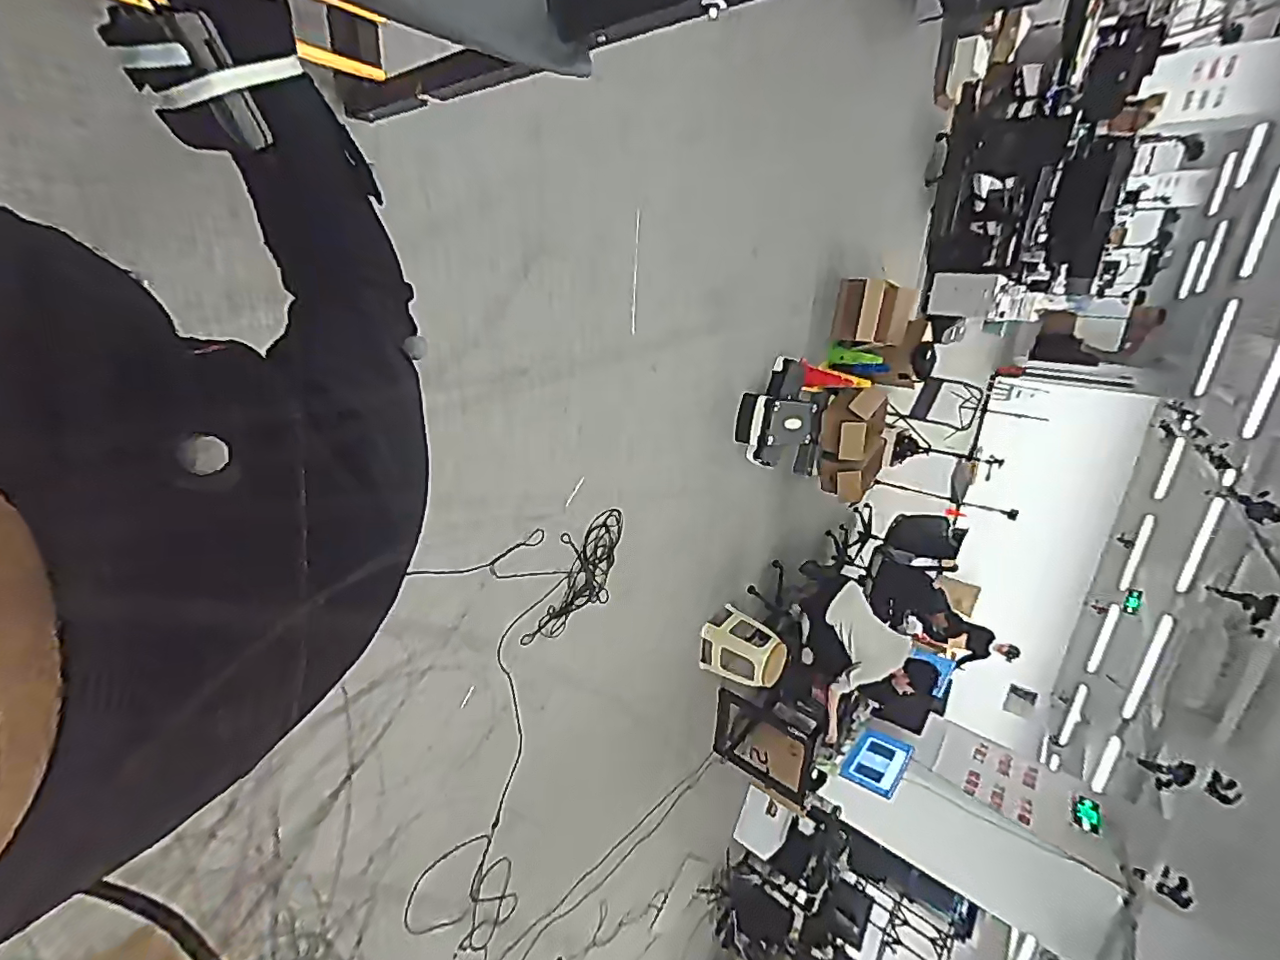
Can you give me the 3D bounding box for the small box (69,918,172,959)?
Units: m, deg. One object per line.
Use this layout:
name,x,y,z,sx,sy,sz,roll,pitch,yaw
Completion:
small box,-1.265,1.227,1.317,0.168,0.176,0.179,-8,112,-50
